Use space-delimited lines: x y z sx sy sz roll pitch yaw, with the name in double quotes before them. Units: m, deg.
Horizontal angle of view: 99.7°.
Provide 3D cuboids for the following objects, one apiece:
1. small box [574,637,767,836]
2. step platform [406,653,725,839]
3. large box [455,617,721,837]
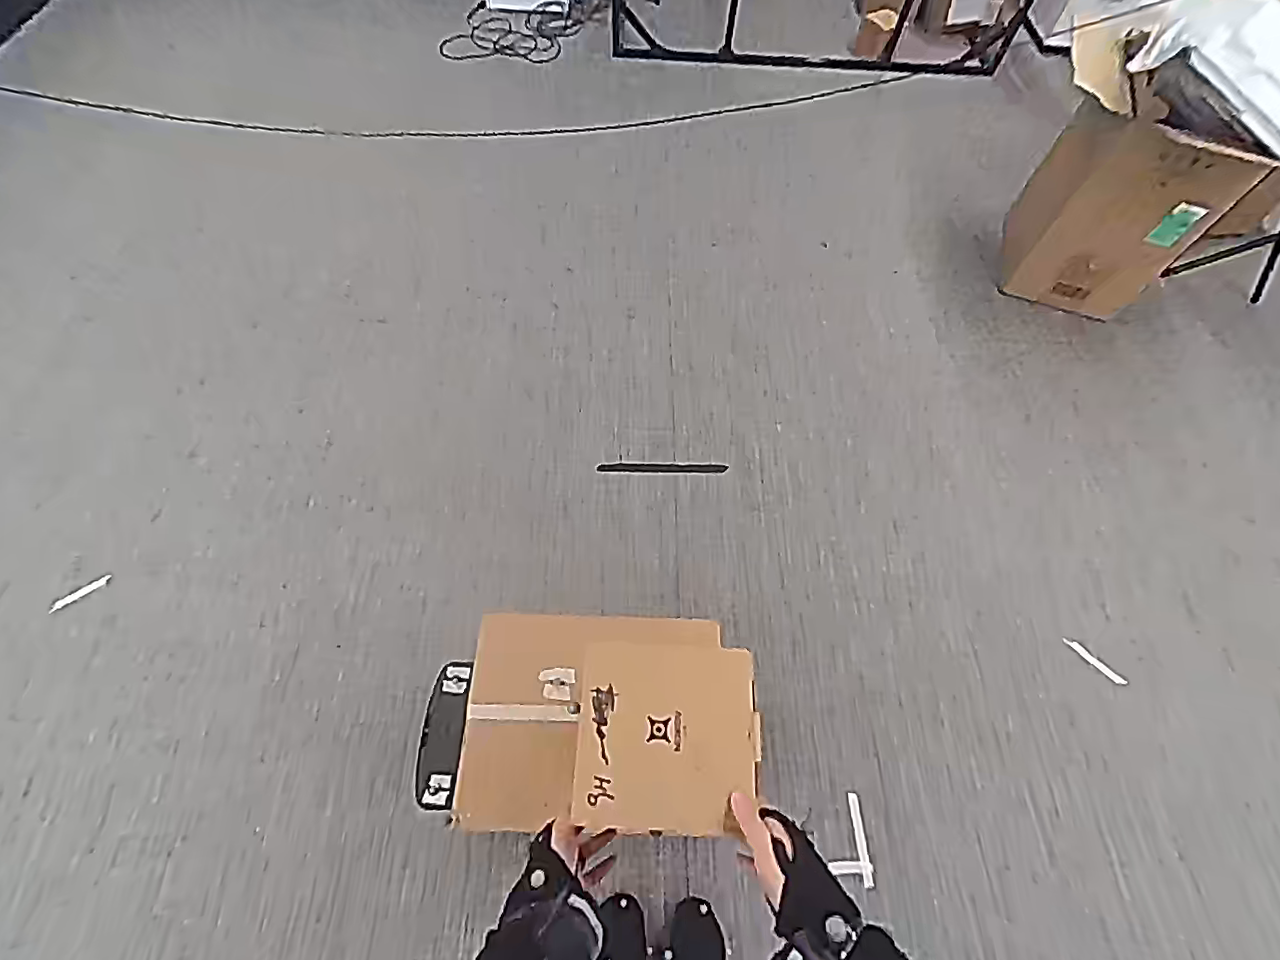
"small box" 0.028 0.276 0.589 0.179 0.176 0.168 4 62 -1
"step platform" -0.128 0.565 1.167 0.684 0.204 0.286 6 61 2
"large box" -0.066 0.437 0.968 0.408 0.320 0.320 1 61 -1
